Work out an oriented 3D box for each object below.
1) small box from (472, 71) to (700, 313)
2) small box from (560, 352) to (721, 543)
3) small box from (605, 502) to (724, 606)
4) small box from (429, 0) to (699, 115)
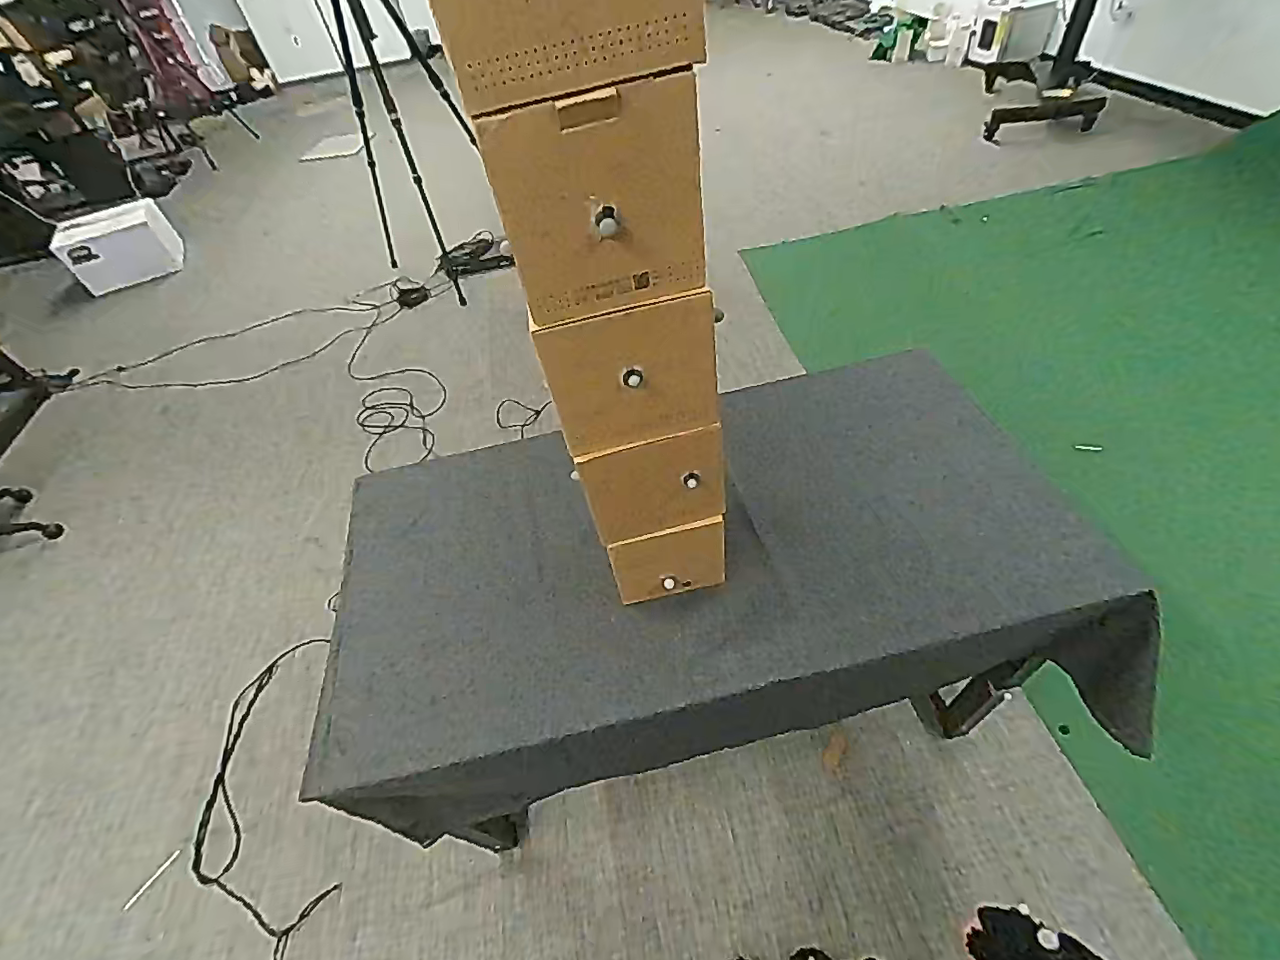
[{"bbox_3d":[-0.046,-0.273,0.505,0.168,0.176,0.179,-14,47,-2],"label":"small box"},{"bbox_3d":[0.003,-0.041,0.729,0.179,0.176,0.168,-14,47,-2],"label":"small box"},{"bbox_3d":[0.029,0.069,0.847,0.168,0.176,0.179,-13,48,-1],"label":"small box"},{"bbox_3d":[-0.065,-0.383,0.382,0.179,0.176,0.168,-13,46,-1],"label":"small box"}]
